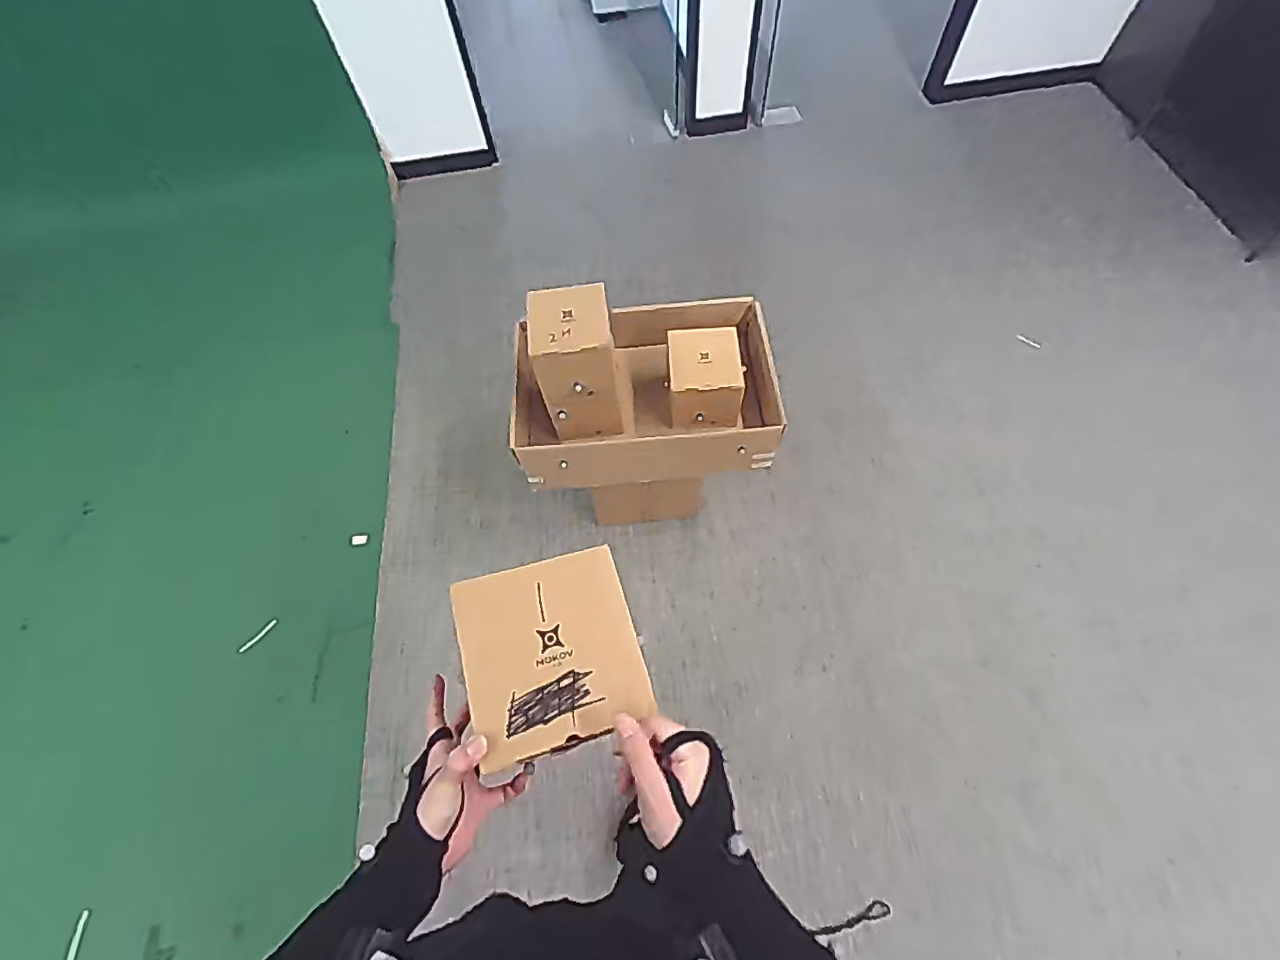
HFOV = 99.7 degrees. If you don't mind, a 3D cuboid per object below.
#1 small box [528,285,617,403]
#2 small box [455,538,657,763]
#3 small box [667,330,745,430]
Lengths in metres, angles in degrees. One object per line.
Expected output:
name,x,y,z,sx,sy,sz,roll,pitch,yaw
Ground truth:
small box,-0.142,-0.290,1.167,0.168,0.176,0.179,-7,62,0
small box,-0.091,0.186,0.584,0.168,0.176,0.179,-12,66,-14
small box,0.153,-0.240,1.314,0.168,0.176,0.179,-3,63,1
